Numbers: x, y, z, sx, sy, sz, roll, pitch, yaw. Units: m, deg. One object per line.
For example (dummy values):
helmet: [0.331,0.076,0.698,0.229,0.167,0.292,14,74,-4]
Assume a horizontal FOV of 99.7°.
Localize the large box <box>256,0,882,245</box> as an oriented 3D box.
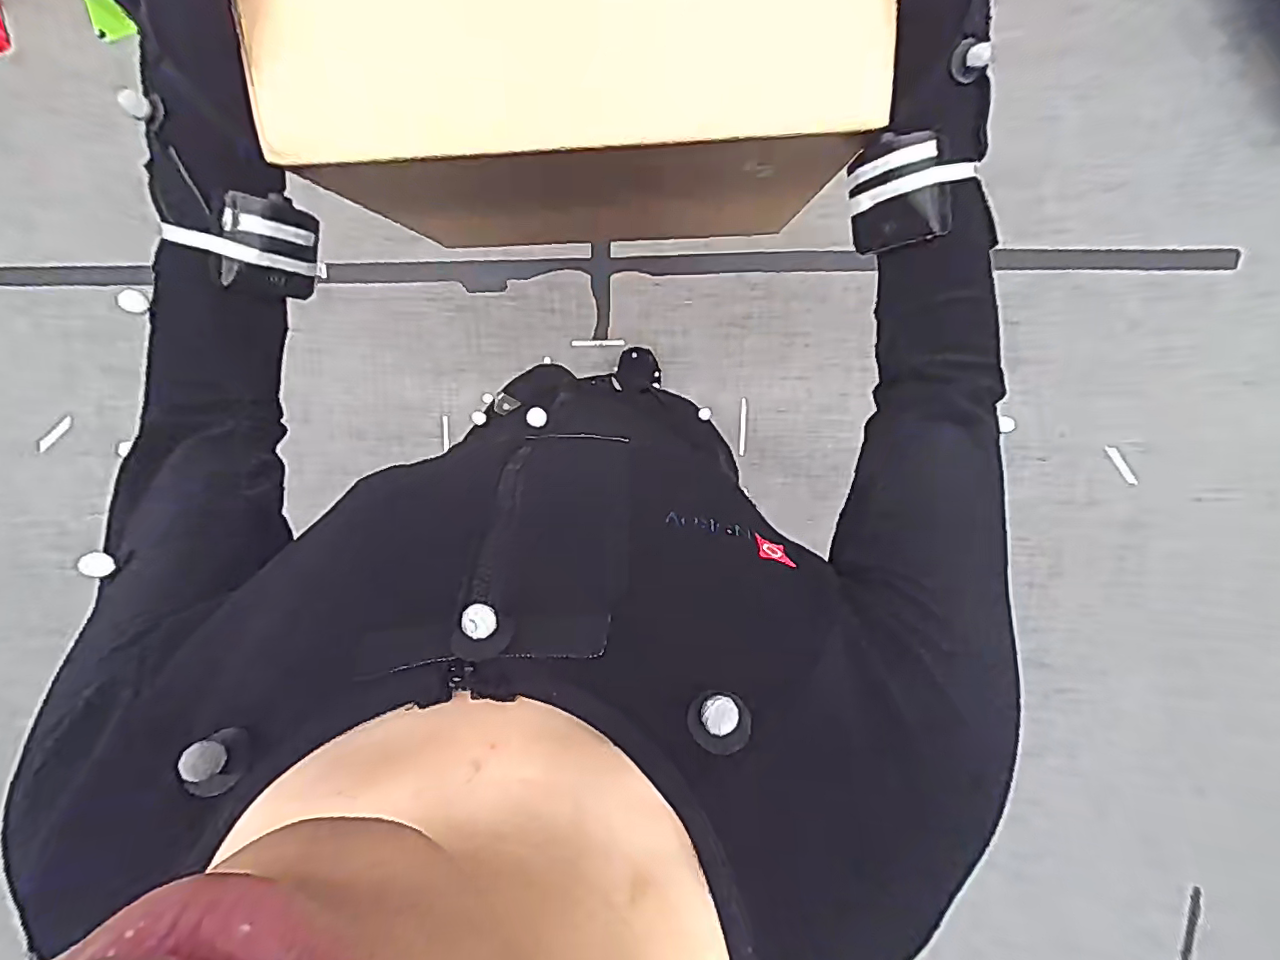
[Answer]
large box: [-0.048,-0.411,0.471,0.408,0.320,0.320,-2,103,2]
